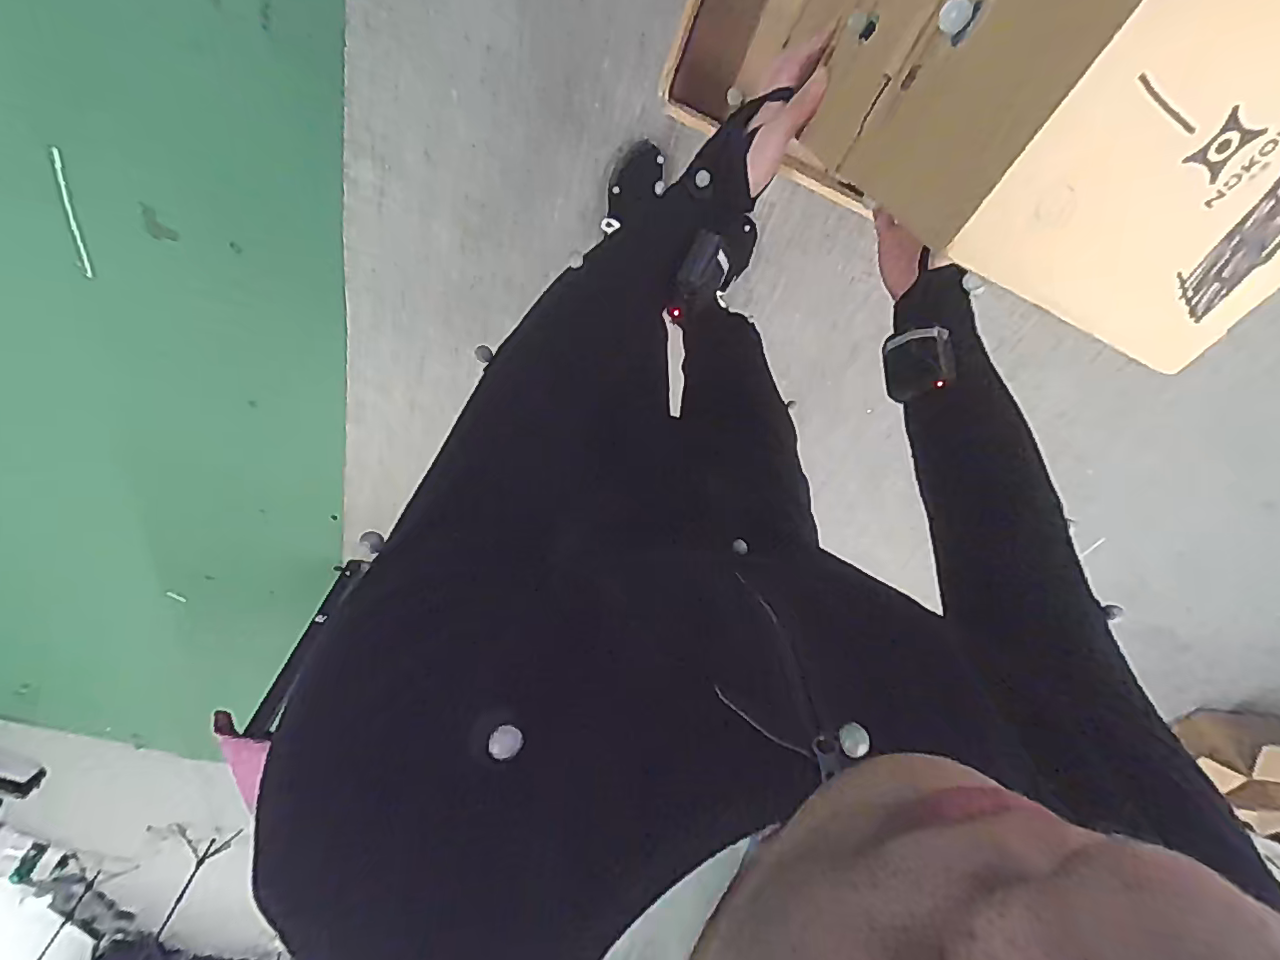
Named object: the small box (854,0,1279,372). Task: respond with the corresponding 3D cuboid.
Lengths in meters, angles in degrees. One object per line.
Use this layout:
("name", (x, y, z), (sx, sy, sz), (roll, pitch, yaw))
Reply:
("small box", (0.255, -0.194, 0.293), (0.179, 0.176, 0.168), (18, 129, -16))

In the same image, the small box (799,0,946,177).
("small box", (0.249, -0.303, 0.417), (0.179, 0.176, 0.168), (19, 129, -17))

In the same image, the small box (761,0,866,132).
("small box", (0.244, -0.412, 0.538), (0.179, 0.176, 0.168), (20, 128, -19))
